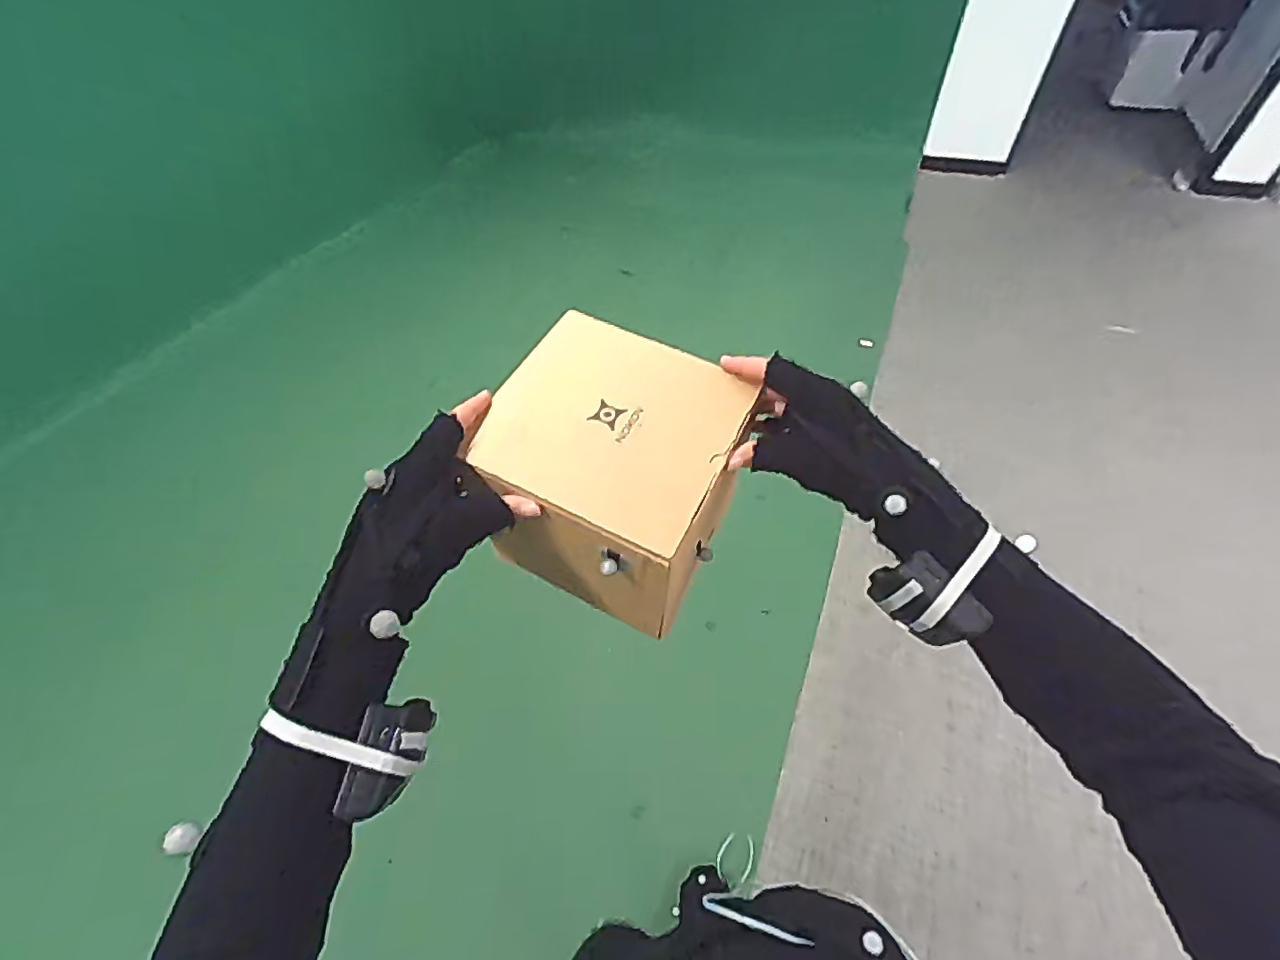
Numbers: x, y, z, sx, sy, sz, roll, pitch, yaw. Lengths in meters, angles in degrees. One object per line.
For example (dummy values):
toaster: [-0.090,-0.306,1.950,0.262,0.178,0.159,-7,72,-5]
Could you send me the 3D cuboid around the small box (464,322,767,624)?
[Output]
small box: [-0.015,0.001,0.469,0.179,0.176,0.168,24,61,13]
